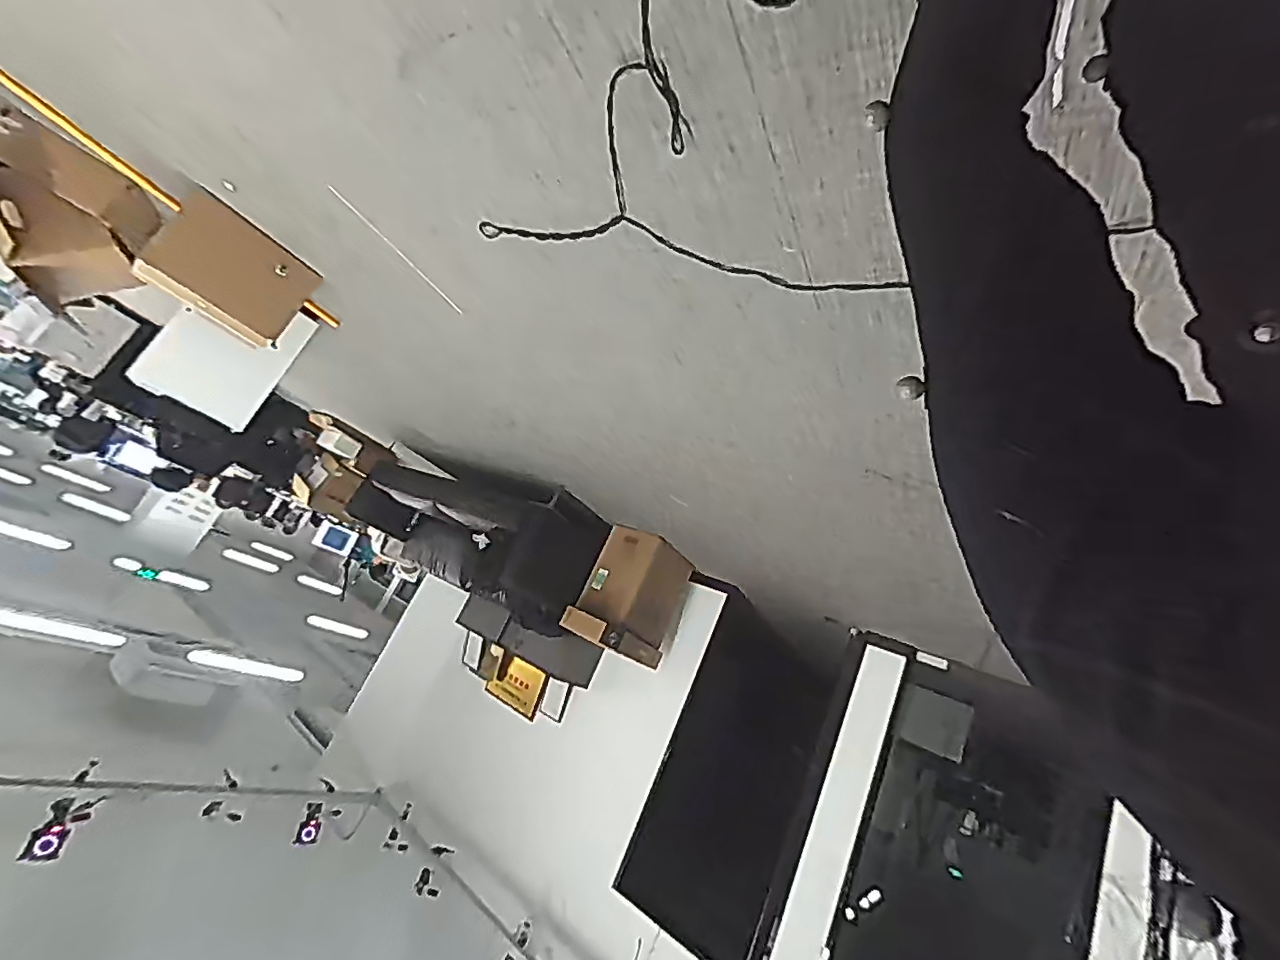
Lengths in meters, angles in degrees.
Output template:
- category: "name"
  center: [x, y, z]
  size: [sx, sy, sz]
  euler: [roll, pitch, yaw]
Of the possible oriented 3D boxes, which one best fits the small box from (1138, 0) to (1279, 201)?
- category: "small box"
  center: [0.541, -0.347, 0.406]
  size: [0.179, 0.176, 0.168]
  euler: [52, 174, 28]
